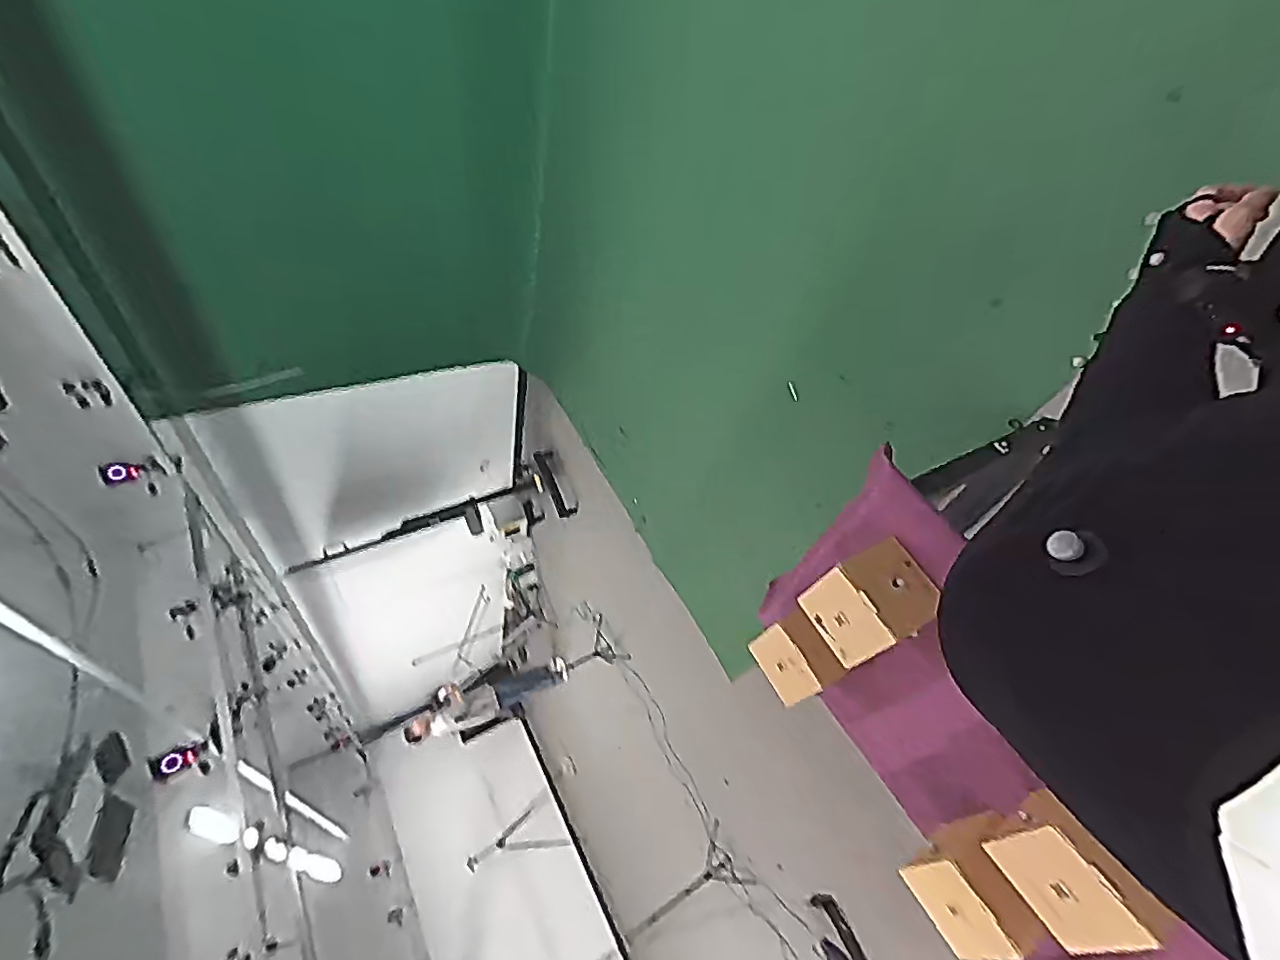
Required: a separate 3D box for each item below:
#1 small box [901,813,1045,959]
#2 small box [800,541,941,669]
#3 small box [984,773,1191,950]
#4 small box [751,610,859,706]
[{"bbox_3d":[0.670,0.796,1.067,0.168,0.176,0.179,55,147,29],"label":"small box"},{"bbox_3d":[0.469,0.249,1.097,0.168,0.176,0.179,58,150,24],"label":"small box"},{"bbox_3d":[0.716,0.606,0.867,0.168,0.176,0.179,54,149,31],"label":"small box"},{"bbox_3d":[0.408,0.416,1.309,0.168,0.176,0.179,57,148,24],"label":"small box"}]
